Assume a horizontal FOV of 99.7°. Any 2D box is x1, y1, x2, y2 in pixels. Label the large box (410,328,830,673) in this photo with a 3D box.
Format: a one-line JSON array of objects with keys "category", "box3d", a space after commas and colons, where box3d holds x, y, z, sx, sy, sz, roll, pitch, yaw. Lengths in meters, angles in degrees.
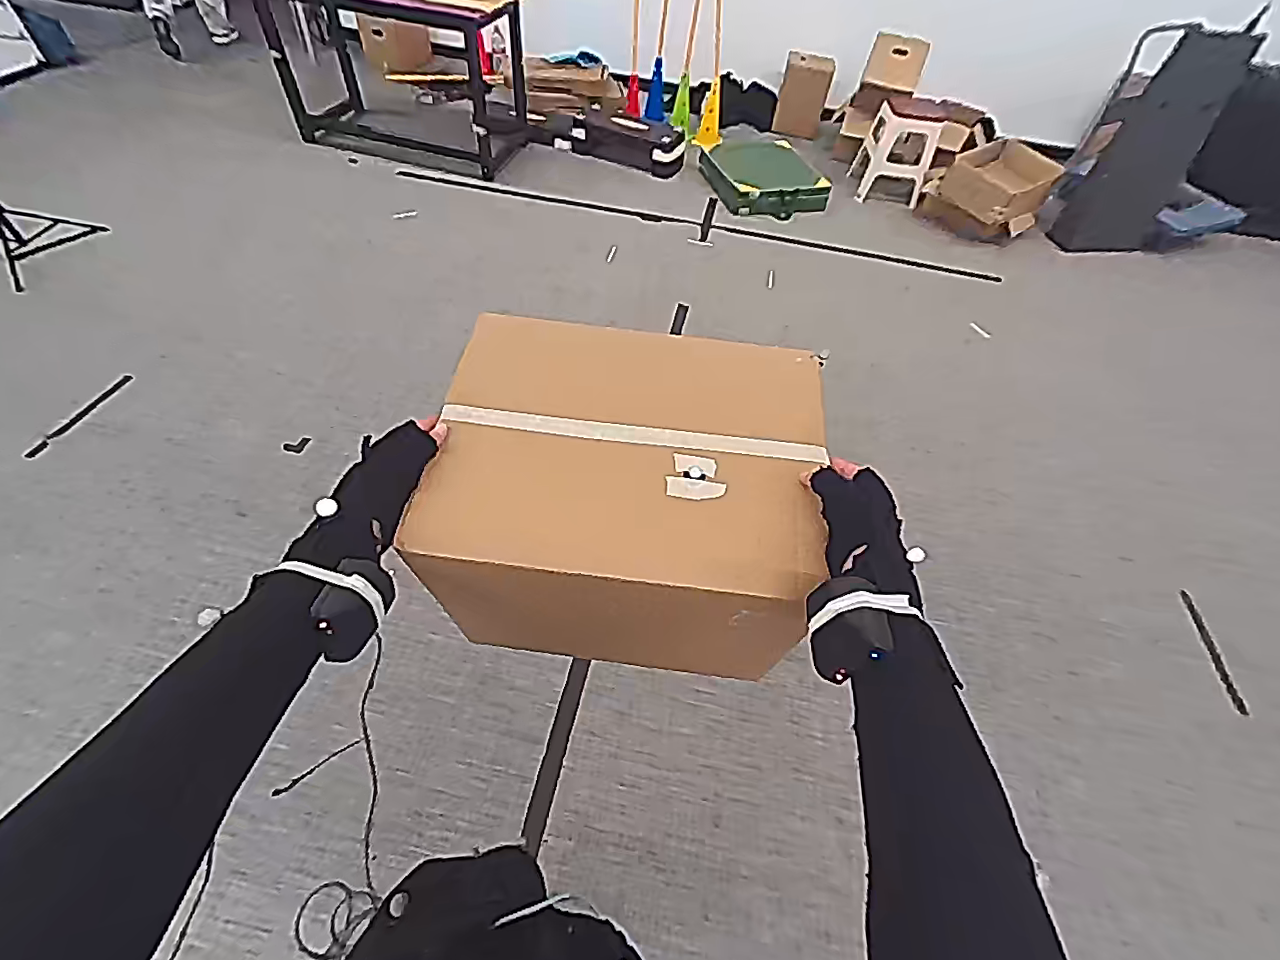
[{"category": "large box", "box3d": [-0.015, 0.041, 0.704, 0.408, 0.320, 0.320, 7, 58, 1]}]
